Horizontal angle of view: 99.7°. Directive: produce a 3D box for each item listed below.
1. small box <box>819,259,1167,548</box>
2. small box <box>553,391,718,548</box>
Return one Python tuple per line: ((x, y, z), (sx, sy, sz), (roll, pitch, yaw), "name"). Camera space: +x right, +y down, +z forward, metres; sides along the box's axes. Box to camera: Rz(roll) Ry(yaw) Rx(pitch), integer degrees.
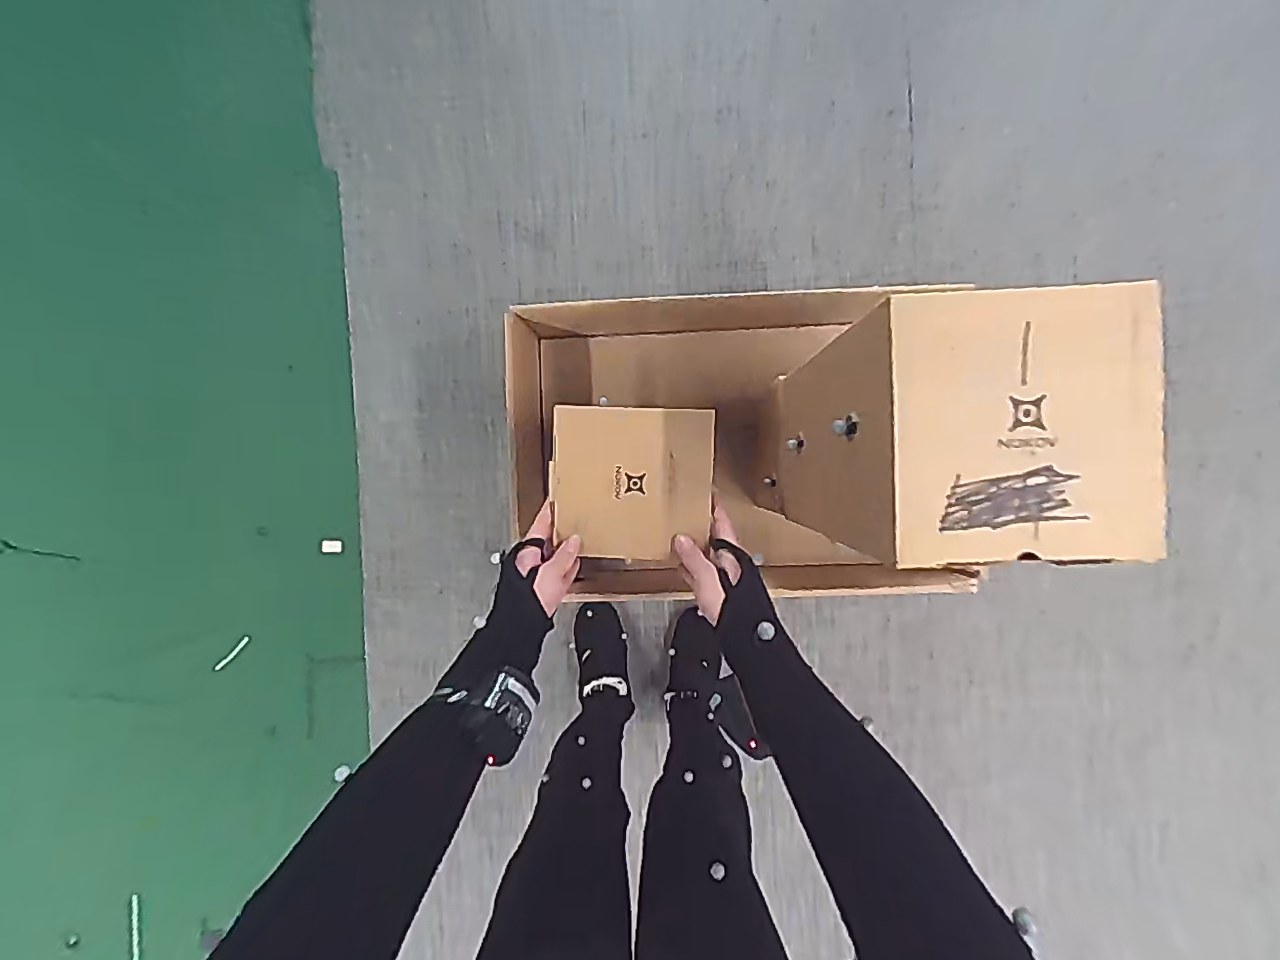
((0.243, -0.049, 0.416), (0.168, 0.176, 0.179), (-2, 91, 3), "small box")
((-0.001, -0.017, 0.665), (0.179, 0.176, 0.168), (2, 95, 4), "small box")
